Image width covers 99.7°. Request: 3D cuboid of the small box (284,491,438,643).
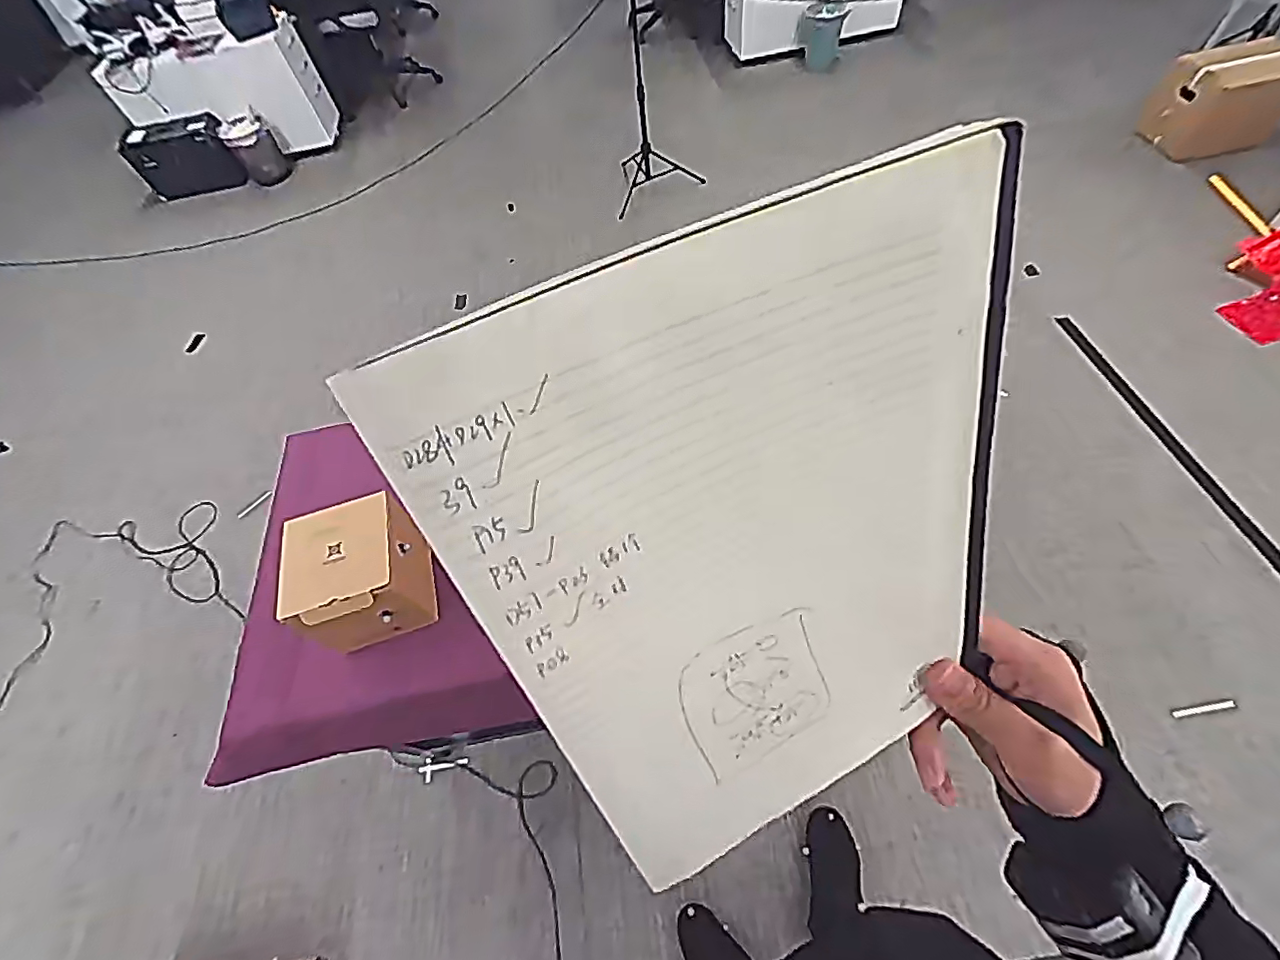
[{"bbox_3d":[-0.447,0.152,0.889,0.168,0.176,0.179,-18,57,-4],"label":"small box"}]
